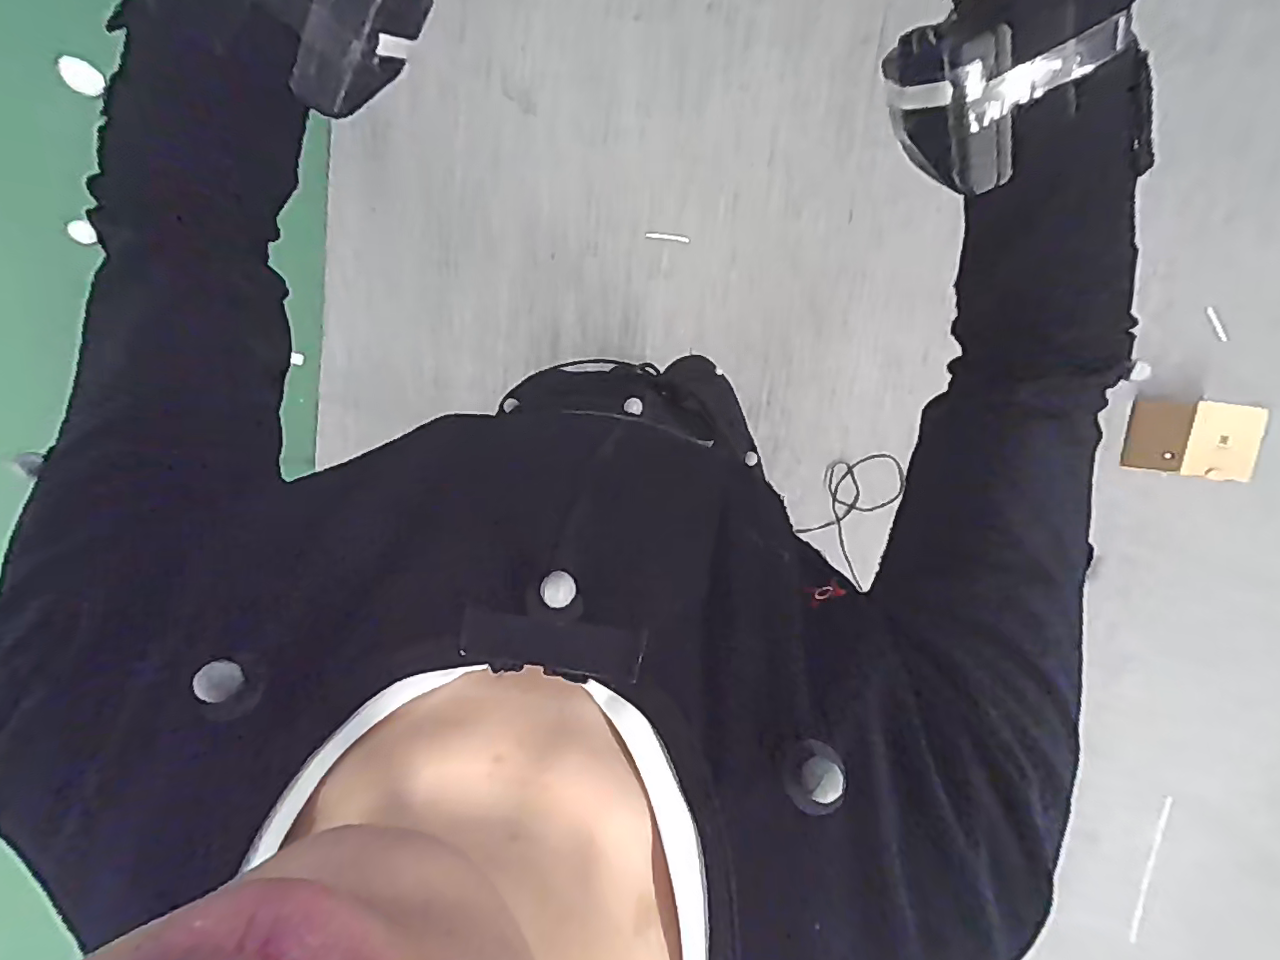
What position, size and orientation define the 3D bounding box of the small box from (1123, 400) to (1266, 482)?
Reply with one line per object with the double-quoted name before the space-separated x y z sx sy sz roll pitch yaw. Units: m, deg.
"small box" 1.361 -0.100 1.340 0.168 0.176 0.179 7 98 0
